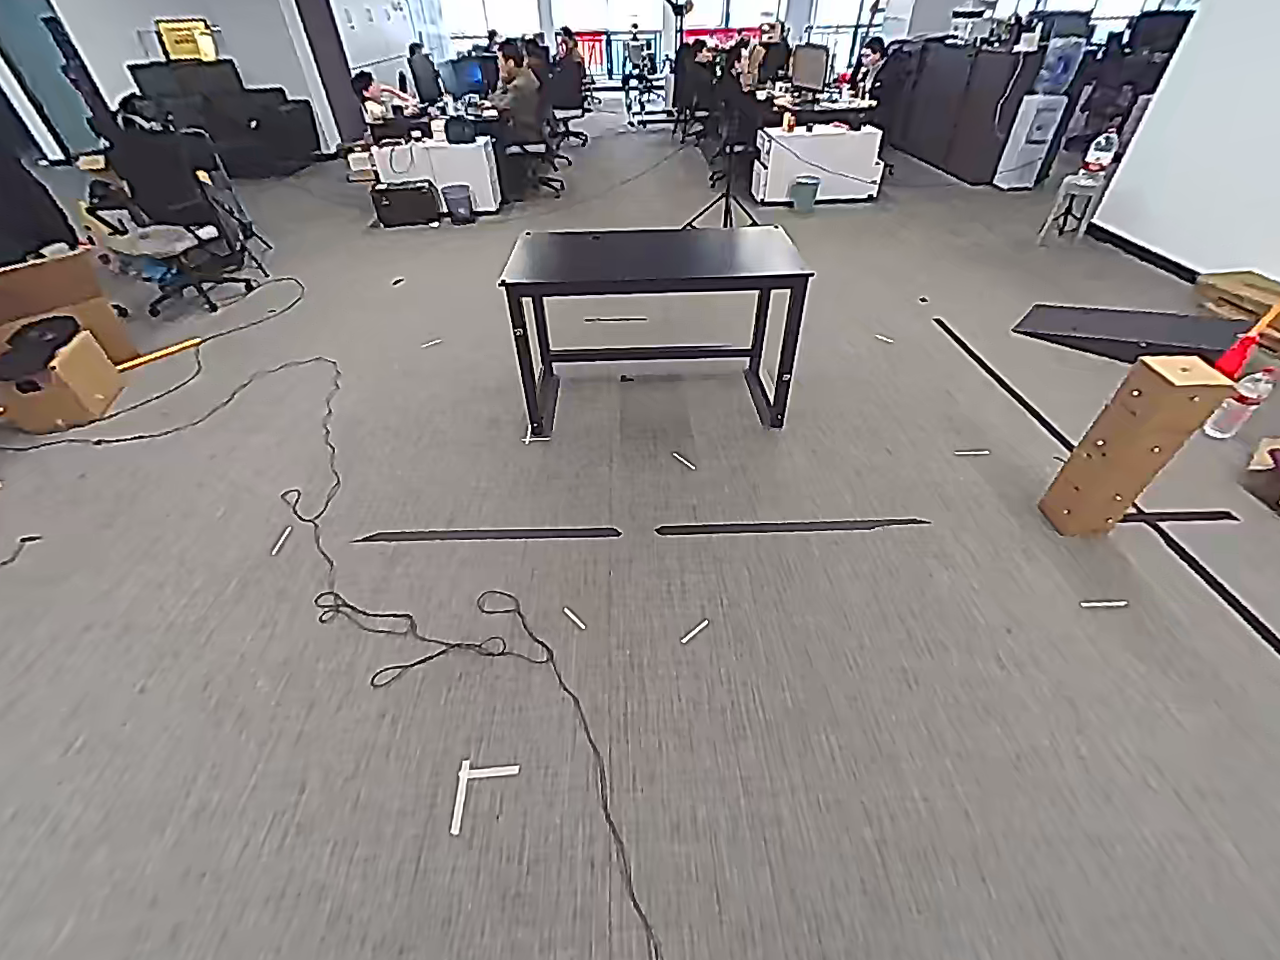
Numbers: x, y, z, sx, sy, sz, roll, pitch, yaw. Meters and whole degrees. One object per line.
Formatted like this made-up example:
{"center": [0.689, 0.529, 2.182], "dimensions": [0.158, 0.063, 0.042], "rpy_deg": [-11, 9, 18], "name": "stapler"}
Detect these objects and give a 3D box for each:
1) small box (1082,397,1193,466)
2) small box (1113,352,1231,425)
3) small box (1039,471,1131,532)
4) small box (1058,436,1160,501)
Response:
{"center": [1.633, -0.161, 1.789], "dimensions": [0.179, 0.176, 0.168], "rpy_deg": [-4, 42, -1], "name": "small box"}
{"center": [1.629, -0.282, 1.677], "dimensions": [0.179, 0.176, 0.168], "rpy_deg": [-1, 42, 1], "name": "small box"}
{"center": [1.645, 0.080, 2.012], "dimensions": [0.168, 0.176, 0.179], "rpy_deg": [-3, 40, -1], "name": "small box"}
{"center": [1.638, -0.041, 1.902], "dimensions": [0.179, 0.176, 0.168], "rpy_deg": [-3, 41, -2], "name": "small box"}
